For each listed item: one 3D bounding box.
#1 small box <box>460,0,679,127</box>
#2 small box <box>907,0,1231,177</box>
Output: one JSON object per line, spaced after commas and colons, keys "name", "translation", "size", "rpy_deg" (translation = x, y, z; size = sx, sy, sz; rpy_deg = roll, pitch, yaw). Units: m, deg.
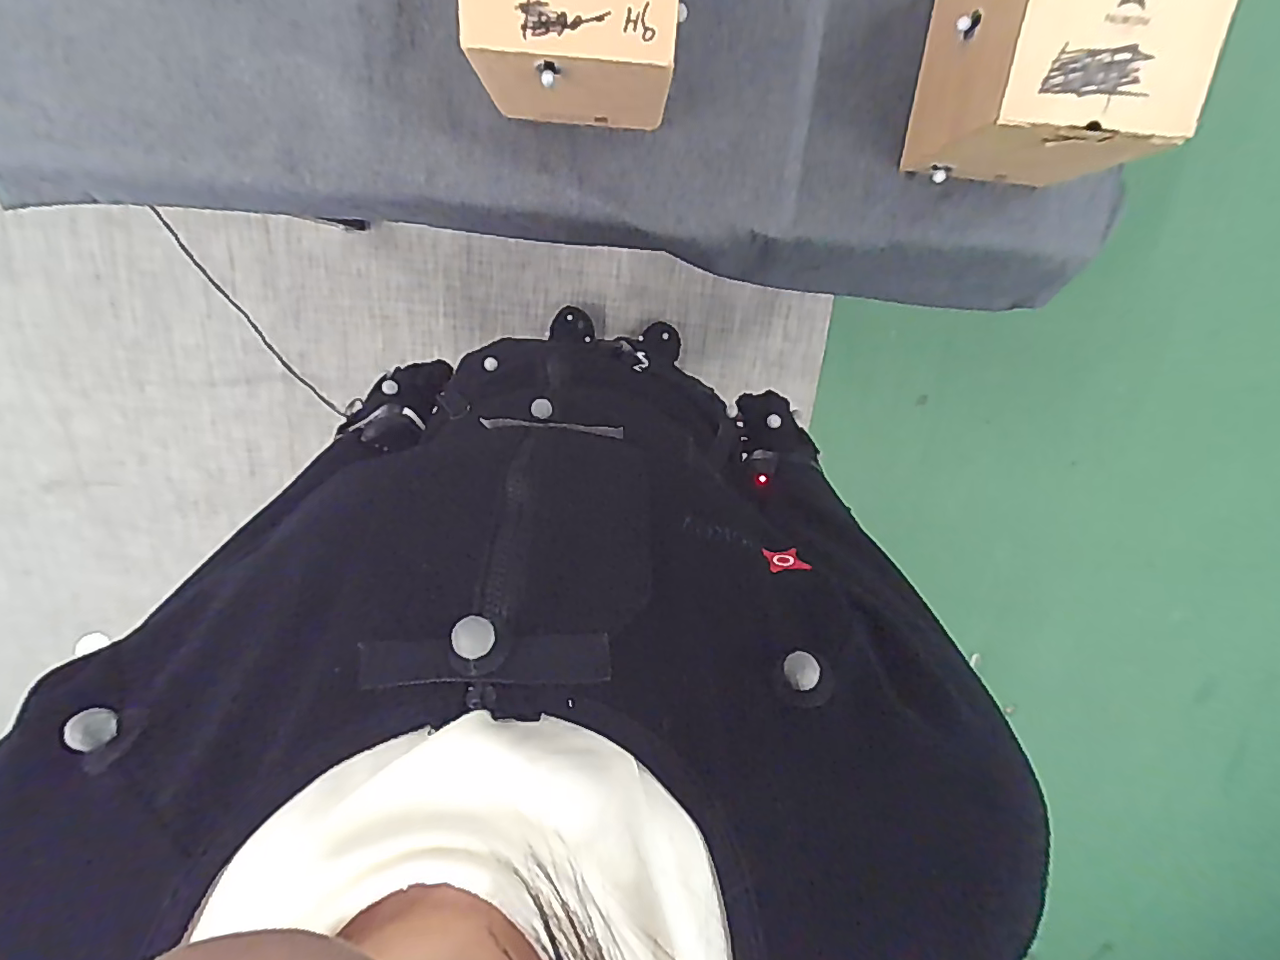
{"name": "small box", "translation": [-0.052, -0.437, 0.465], "size": [0.168, 0.176, 0.179], "rpy_deg": [3, 108, -3]}
{"name": "small box", "translation": [0.373, -0.395, 0.493], "size": [0.168, 0.176, 0.179], "rpy_deg": [5, 107, -3]}
